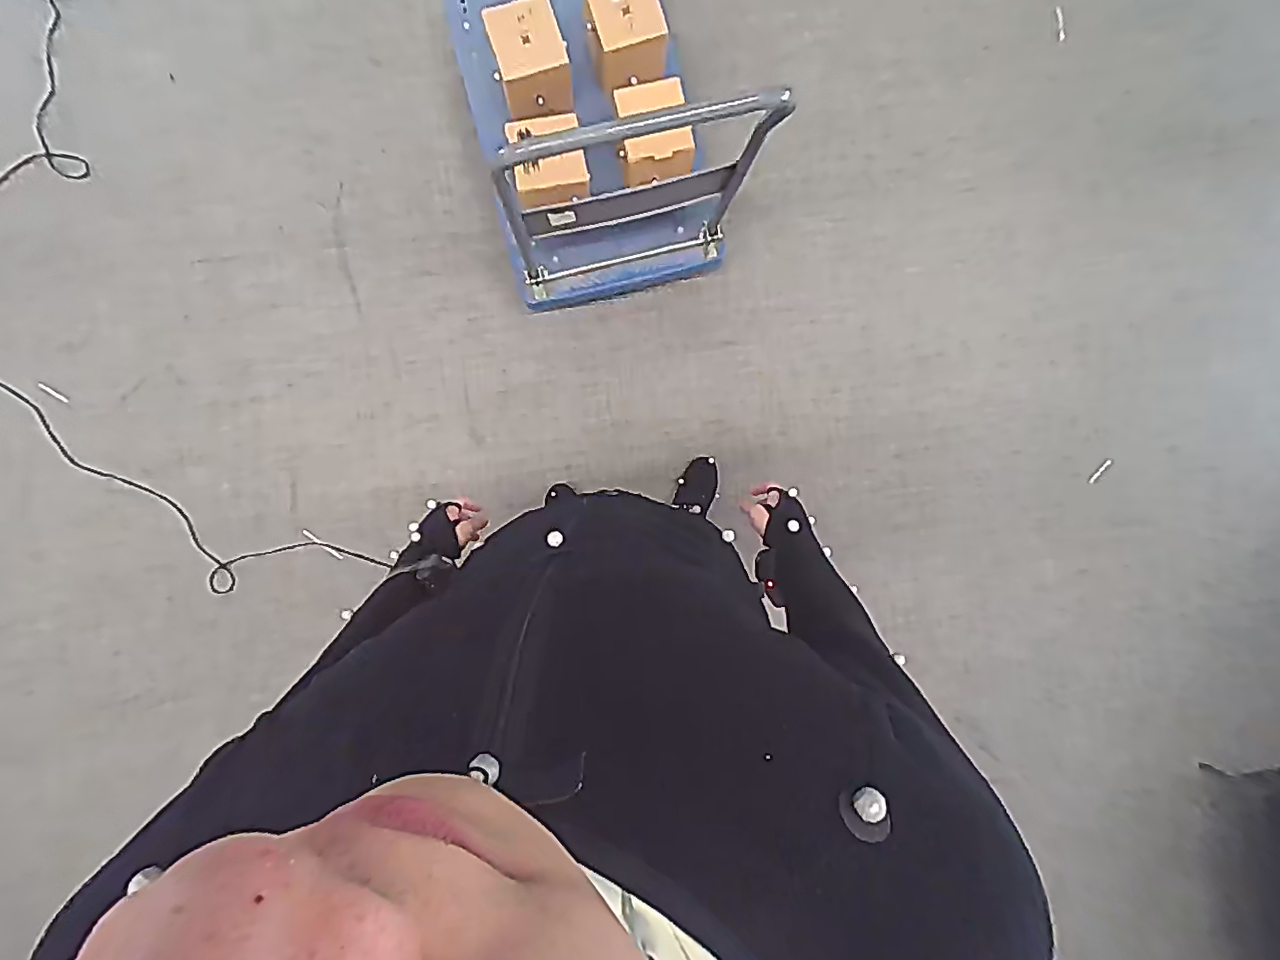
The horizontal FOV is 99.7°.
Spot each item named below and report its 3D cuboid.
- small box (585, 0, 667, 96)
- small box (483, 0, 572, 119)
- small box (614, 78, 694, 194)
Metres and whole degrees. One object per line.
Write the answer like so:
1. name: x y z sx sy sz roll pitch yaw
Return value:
1. small box: -0.040 -1.141 1.385 0.168 0.176 0.179 -18 93 -2
2. small box: -0.278 -1.059 1.375 0.168 0.176 0.179 -18 92 -3
3. small box: 0.030 -0.879 1.394 0.168 0.176 0.179 -14 92 -3
